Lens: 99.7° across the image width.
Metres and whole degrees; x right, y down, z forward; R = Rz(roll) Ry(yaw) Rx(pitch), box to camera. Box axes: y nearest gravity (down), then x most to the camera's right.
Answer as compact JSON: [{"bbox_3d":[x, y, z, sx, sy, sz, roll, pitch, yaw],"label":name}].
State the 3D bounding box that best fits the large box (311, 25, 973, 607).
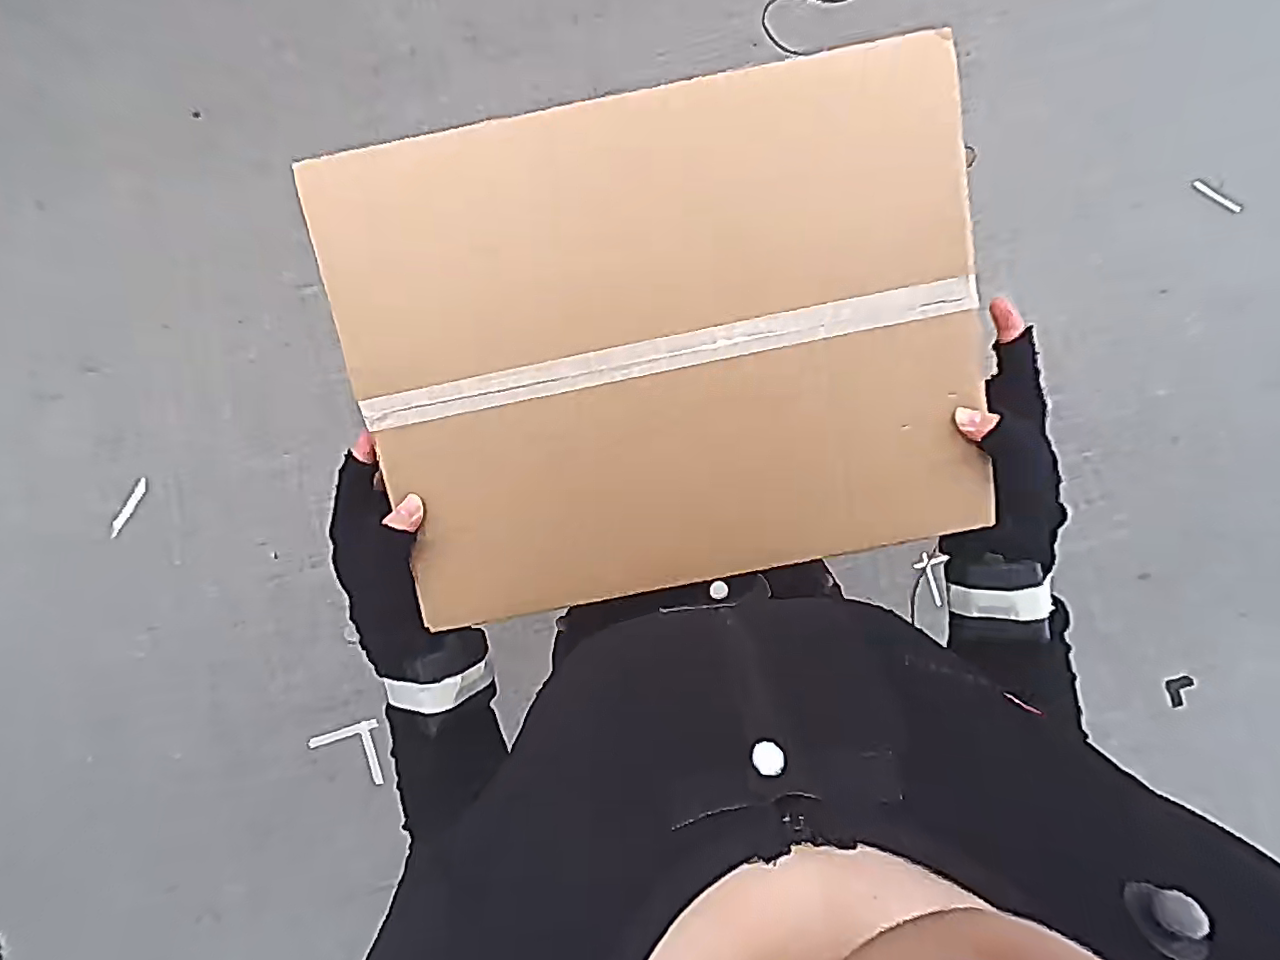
[{"bbox_3d":[0.010,-0.119,0.508,0.408,0.320,0.320,-11,101,1],"label":"large box"}]
